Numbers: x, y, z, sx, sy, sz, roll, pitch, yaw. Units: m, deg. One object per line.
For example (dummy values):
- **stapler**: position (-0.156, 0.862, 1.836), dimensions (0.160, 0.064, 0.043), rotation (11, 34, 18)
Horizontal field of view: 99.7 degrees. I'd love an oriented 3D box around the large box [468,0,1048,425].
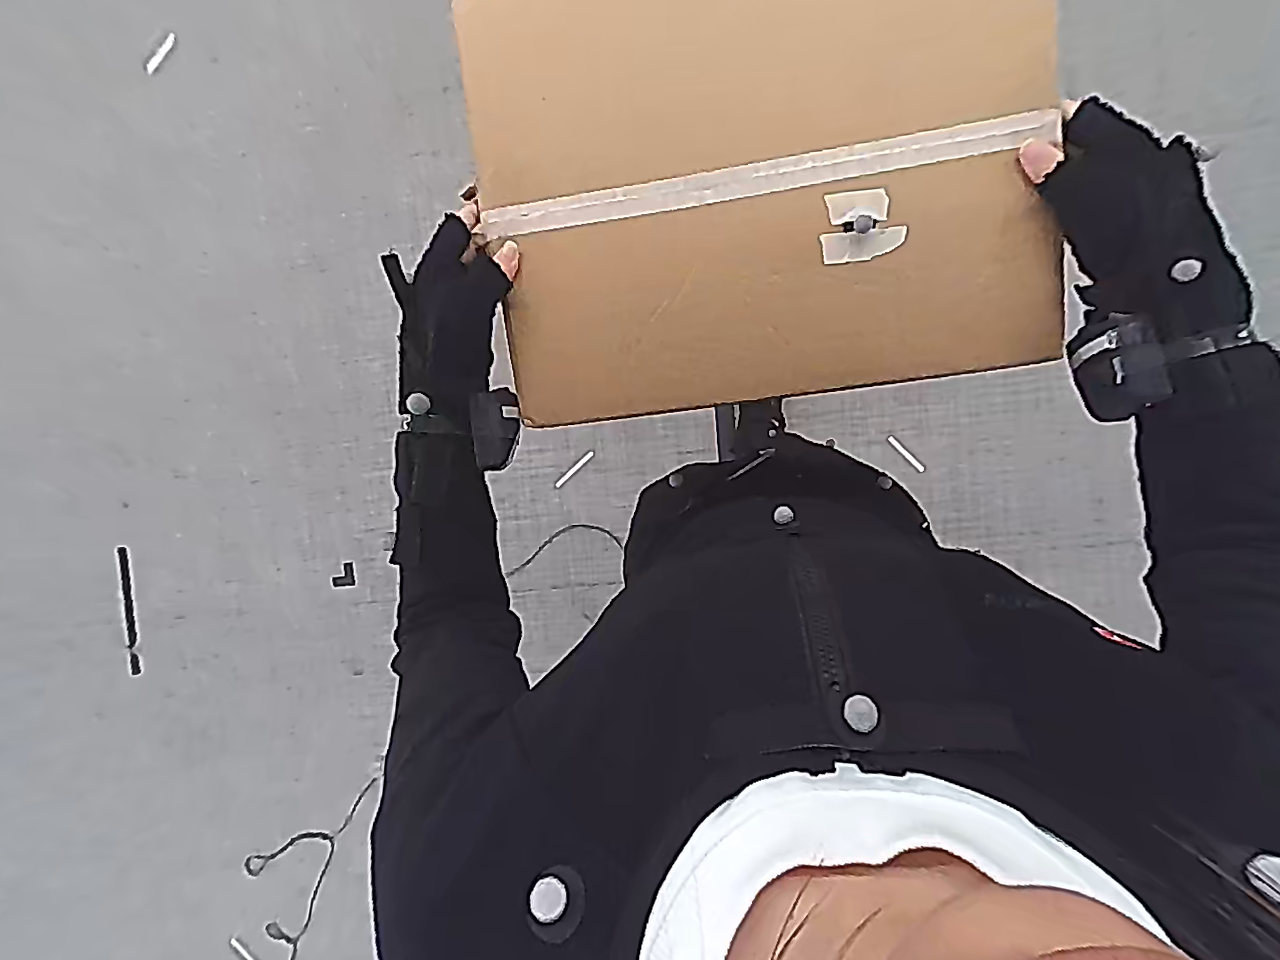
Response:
- **large box**: position (0.097, -0.244, 0.549), dimensions (0.408, 0.320, 0.320), rotation (-8, 99, 5)
